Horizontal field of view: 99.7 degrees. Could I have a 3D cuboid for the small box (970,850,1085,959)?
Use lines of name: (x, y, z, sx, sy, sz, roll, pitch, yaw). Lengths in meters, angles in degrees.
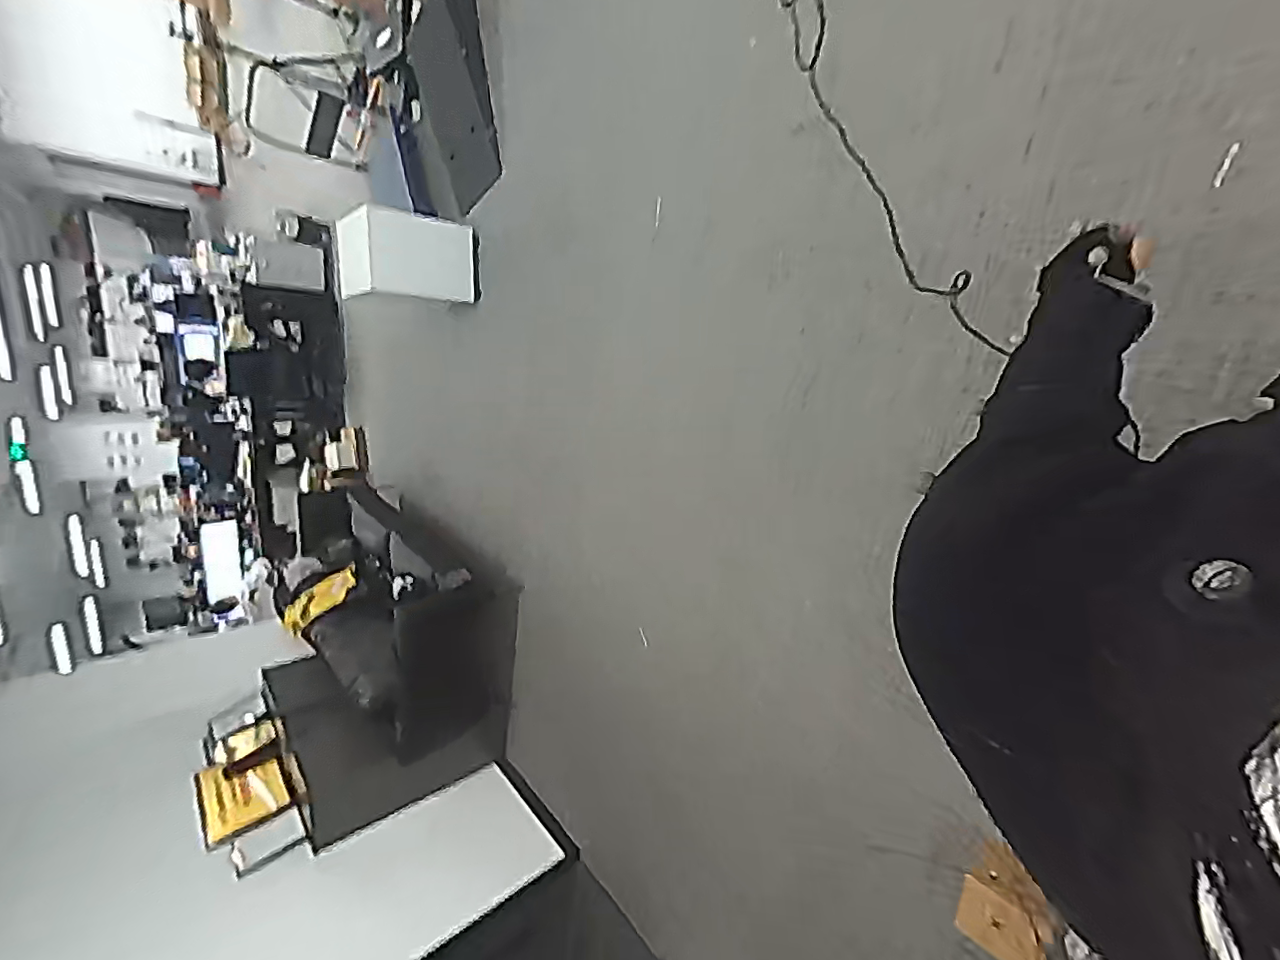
small box: (0.943, 1.051, 1.316, 0.179, 0.176, 0.168, 17, 109, 45)
